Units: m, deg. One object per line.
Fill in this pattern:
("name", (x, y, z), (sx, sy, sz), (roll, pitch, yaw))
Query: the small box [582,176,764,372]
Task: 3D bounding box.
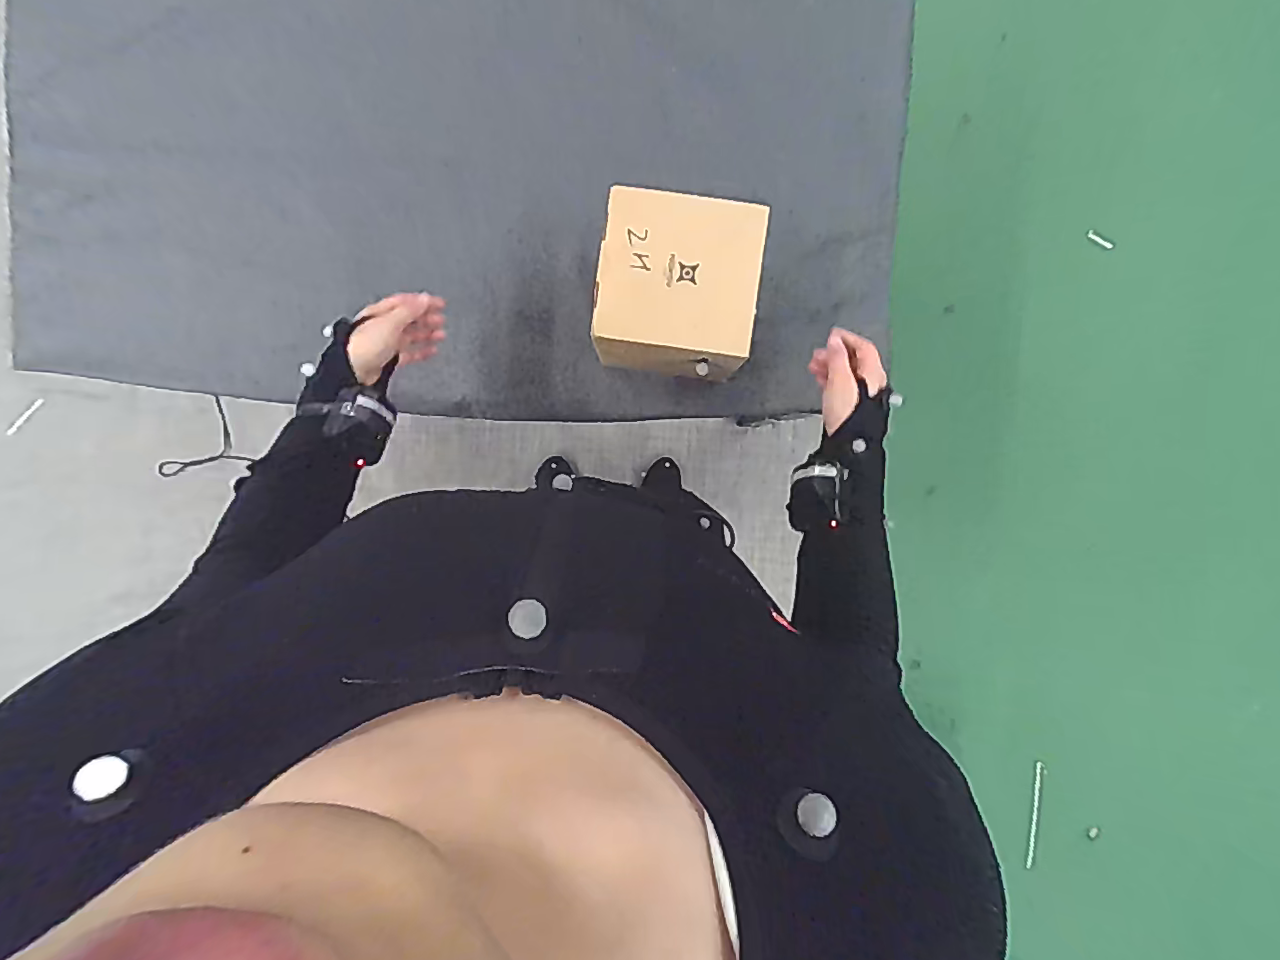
("small box", (0.034, -0.231, 0.653), (0.179, 0.176, 0.168), (8, 92, 0))
